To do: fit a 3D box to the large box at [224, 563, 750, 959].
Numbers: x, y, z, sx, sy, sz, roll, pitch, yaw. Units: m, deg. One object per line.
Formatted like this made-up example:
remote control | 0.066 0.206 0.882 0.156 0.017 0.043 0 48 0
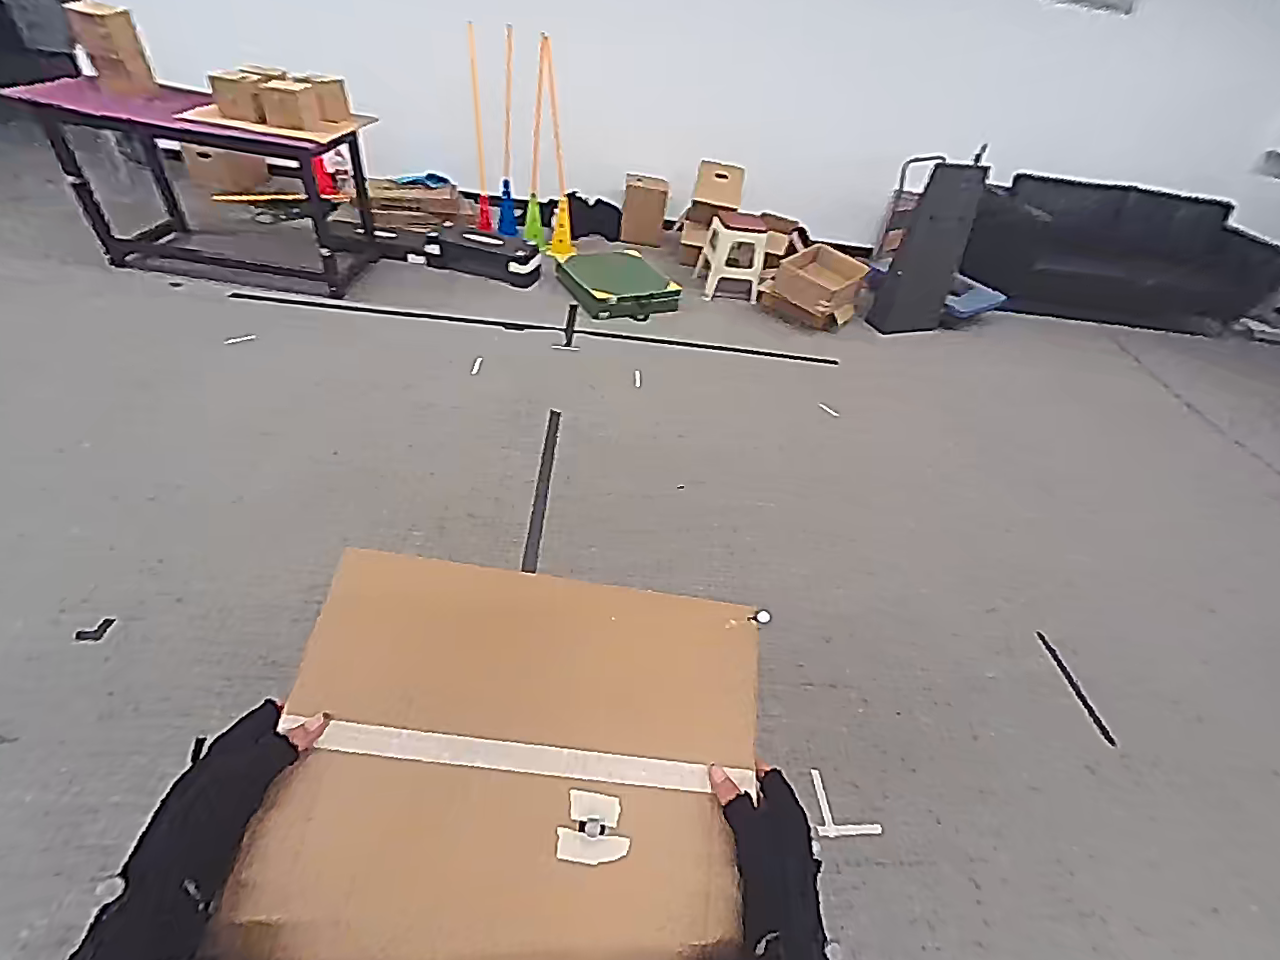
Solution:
large box | -0.119 0.308 0.609 0.408 0.320 0.320 9 65 -4
